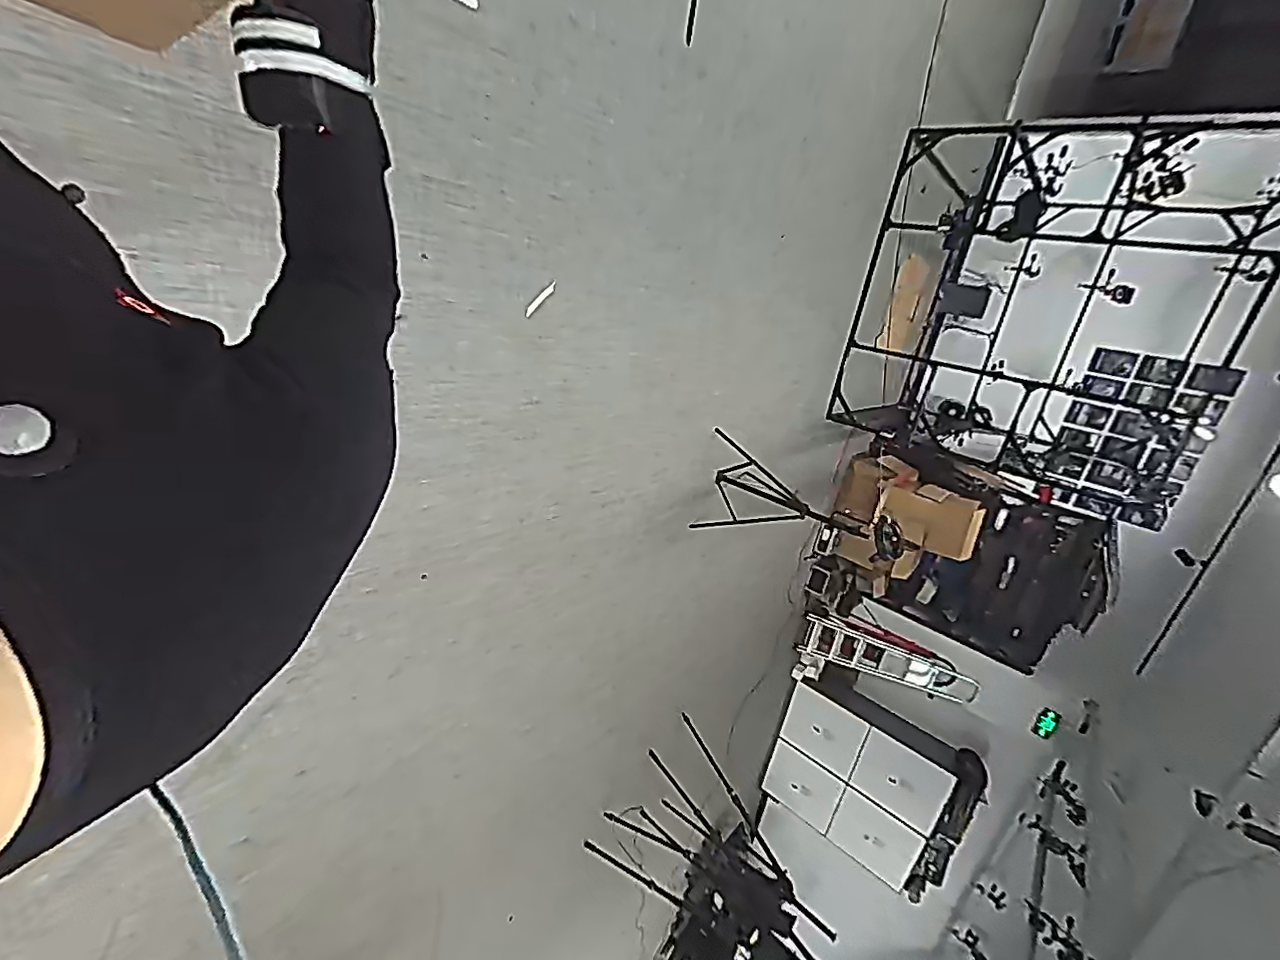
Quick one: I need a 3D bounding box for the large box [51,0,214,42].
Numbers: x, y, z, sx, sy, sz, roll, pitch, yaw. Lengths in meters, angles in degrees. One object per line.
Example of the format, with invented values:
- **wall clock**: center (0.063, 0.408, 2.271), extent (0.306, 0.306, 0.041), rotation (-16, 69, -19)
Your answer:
- **large box**: center (-0.433, -0.496, 0.234), extent (0.408, 0.320, 0.320), rotation (-9, 112, -52)
